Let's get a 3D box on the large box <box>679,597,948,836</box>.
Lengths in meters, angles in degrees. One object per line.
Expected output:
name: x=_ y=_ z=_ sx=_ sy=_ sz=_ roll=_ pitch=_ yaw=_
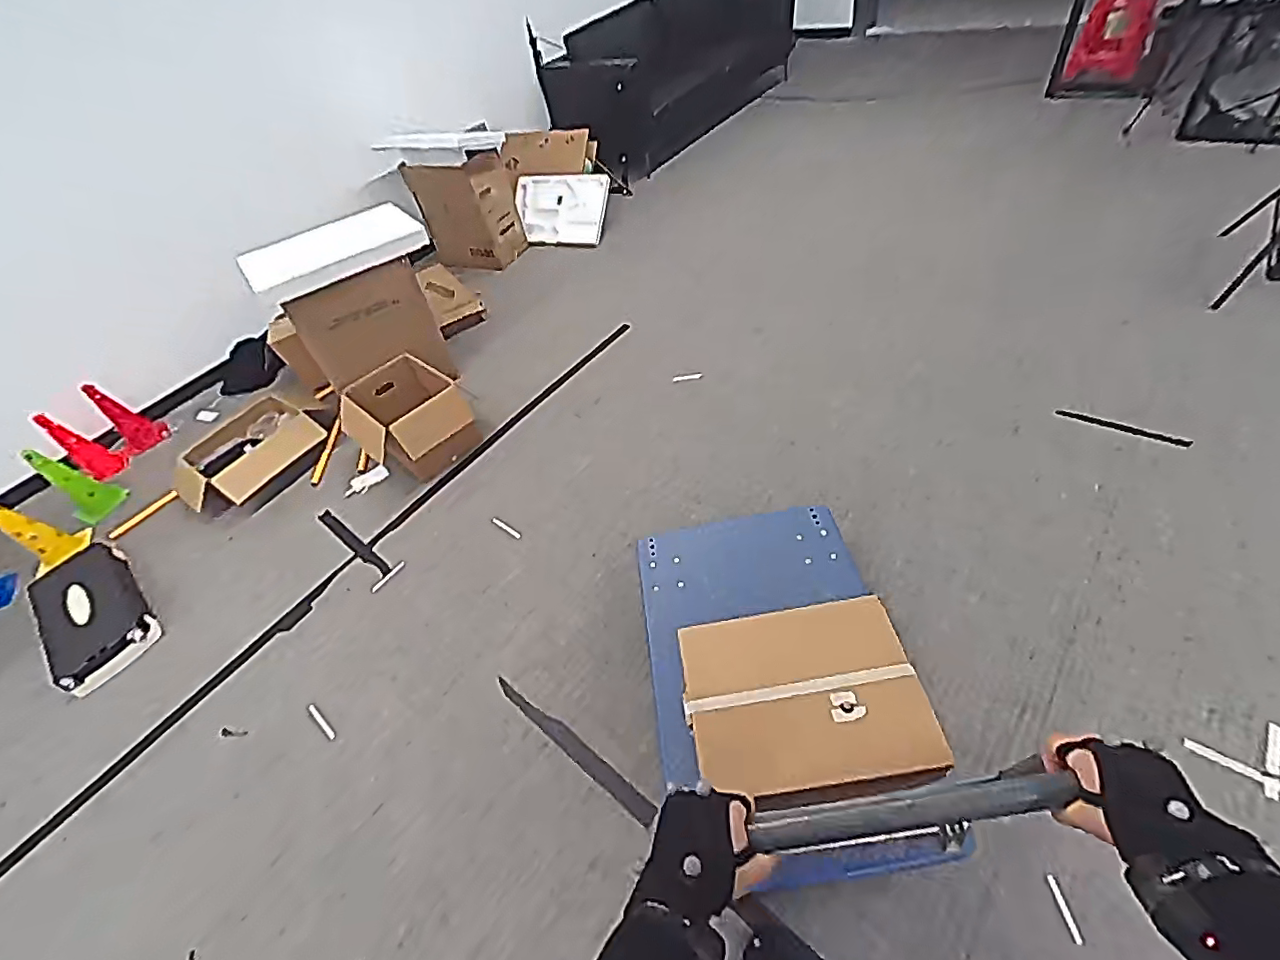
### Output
large box: x=0.309 y=0.479 z=1.085 sx=0.408 sy=0.320 sz=0.320 roll=-10 pitch=48 yaw=2
